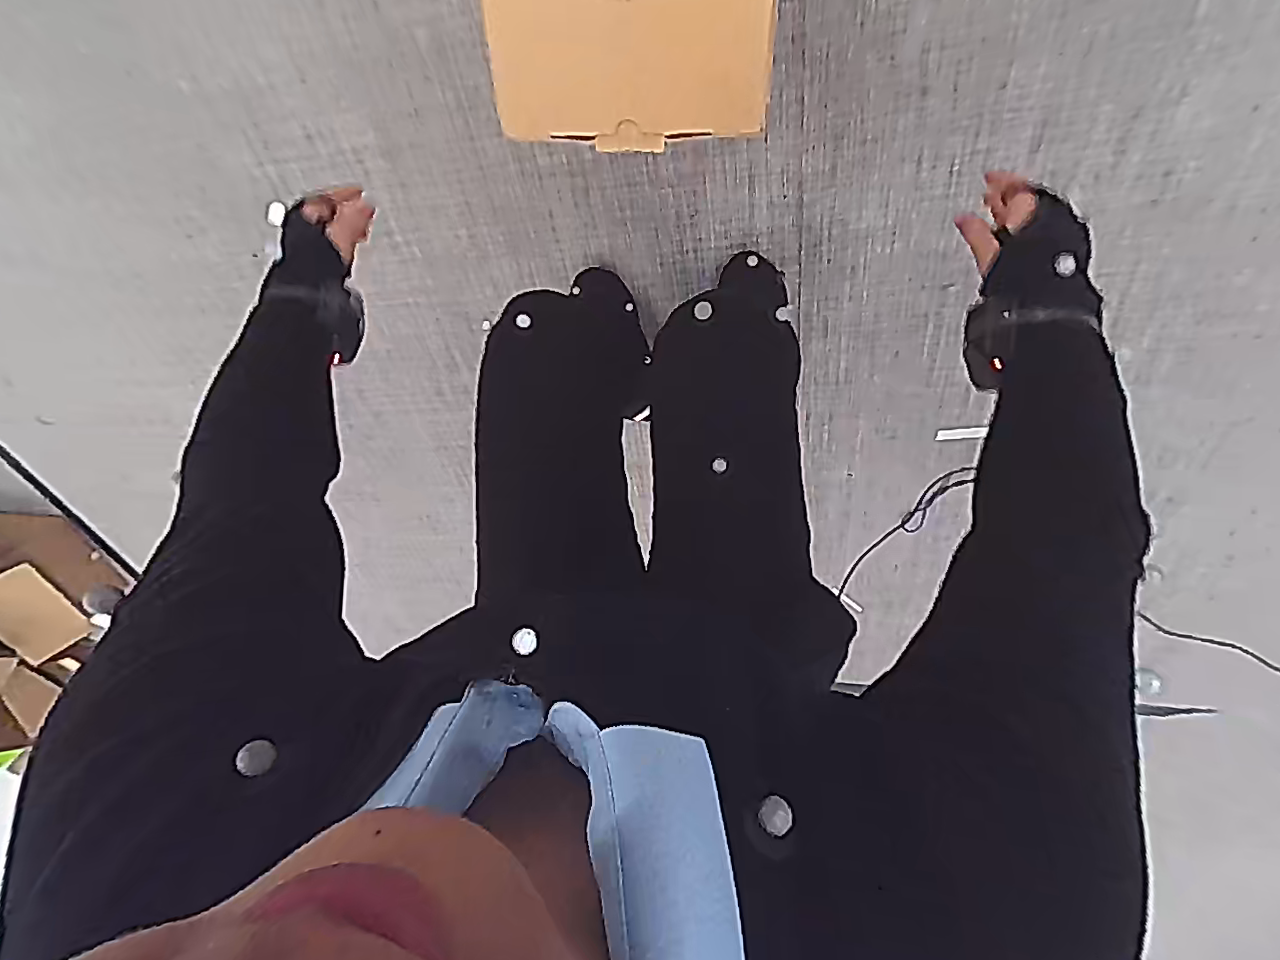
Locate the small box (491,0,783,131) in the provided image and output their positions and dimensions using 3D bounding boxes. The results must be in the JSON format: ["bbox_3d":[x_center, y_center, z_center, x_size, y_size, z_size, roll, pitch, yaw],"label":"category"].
[{"bbox_3d":[0.007,-0.335,0.344,0.168,0.176,0.179,4,129,9],"label":"small box"}]
